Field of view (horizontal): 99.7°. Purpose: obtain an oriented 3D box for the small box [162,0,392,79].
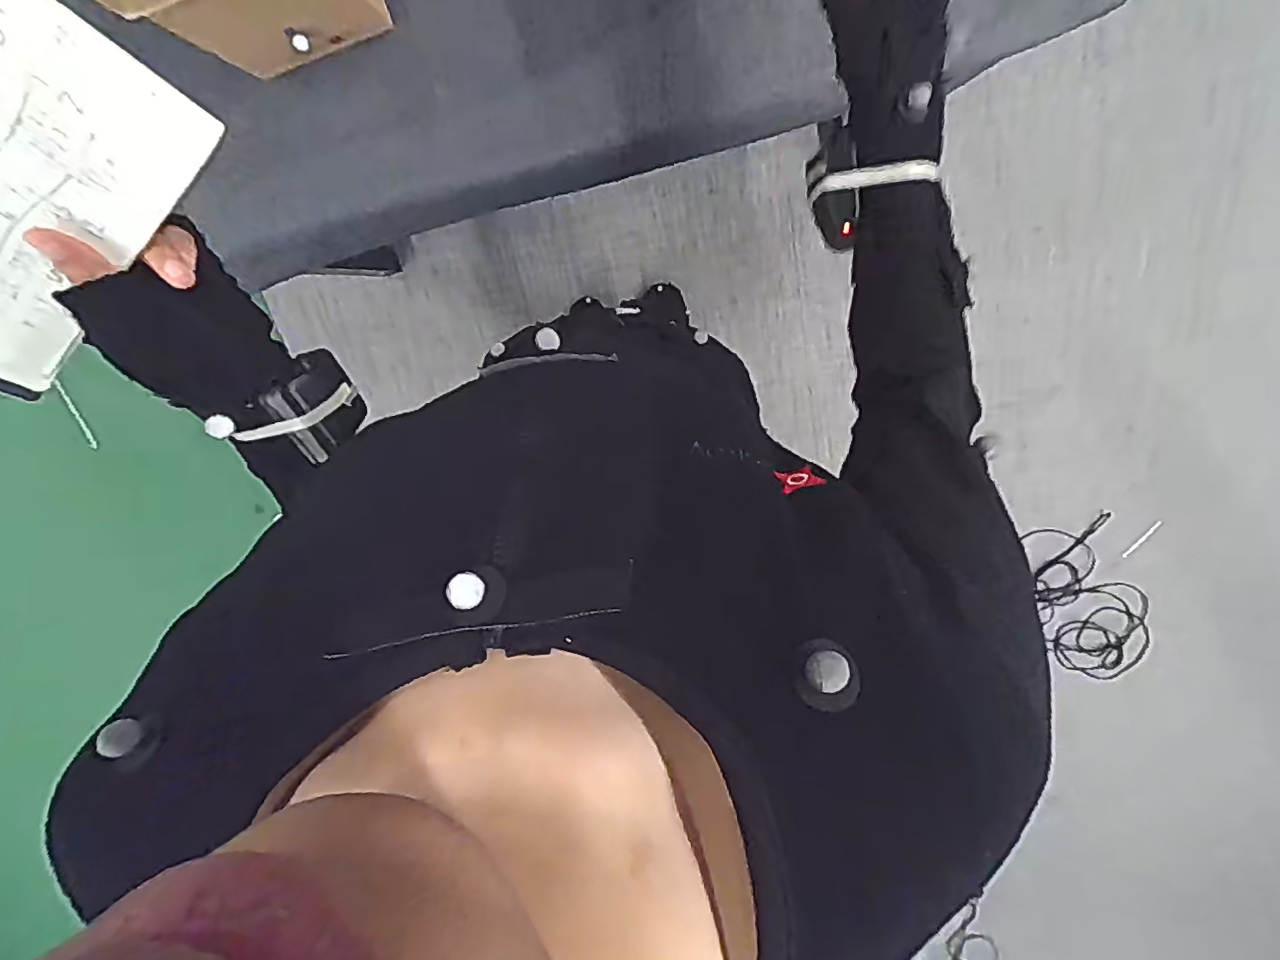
[{"bbox_3d":[-0.364,-0.514,0.488,0.168,0.176,0.179,-16,108,7],"label":"small box"}]
